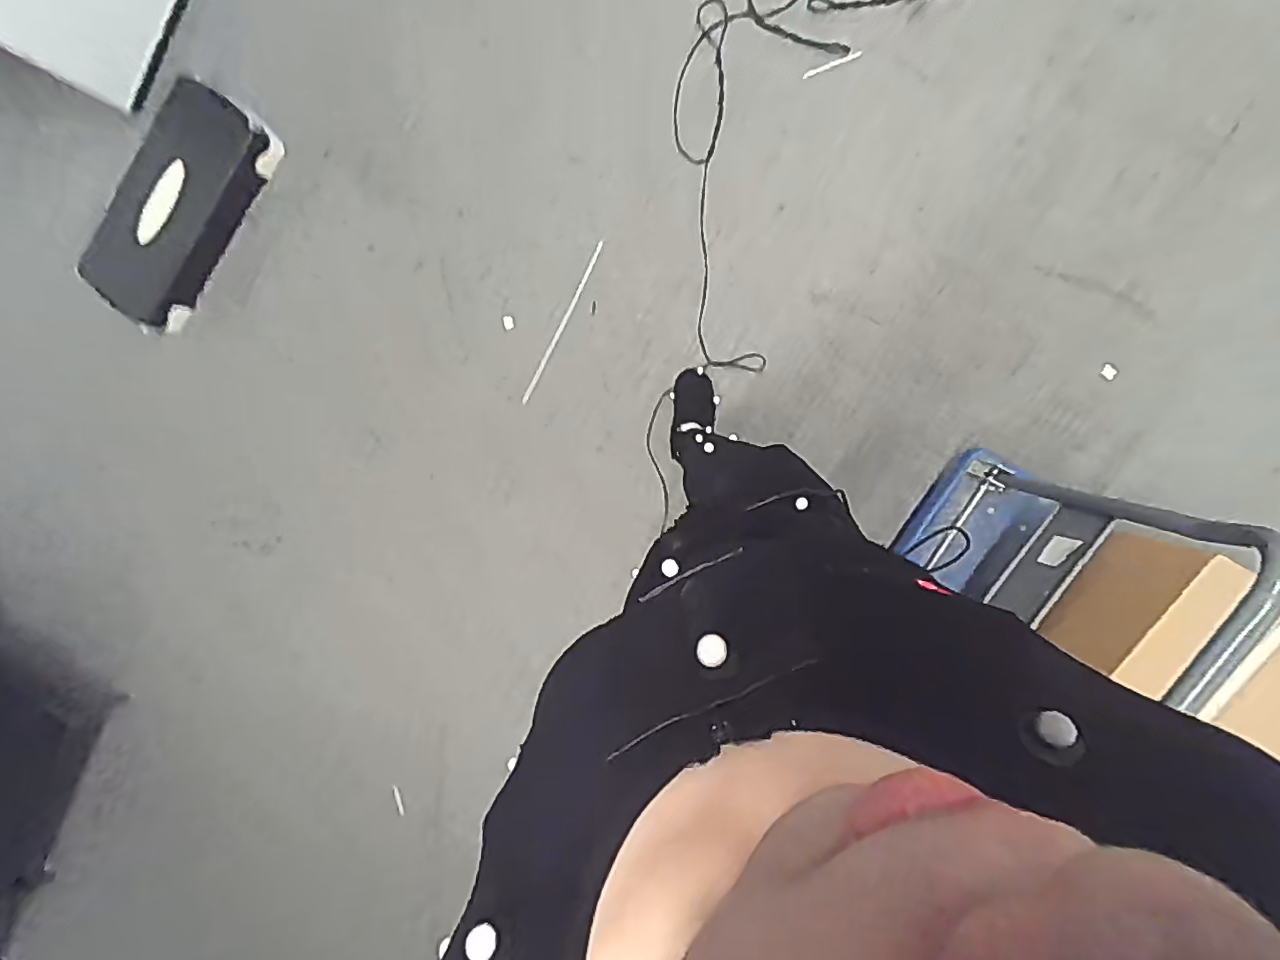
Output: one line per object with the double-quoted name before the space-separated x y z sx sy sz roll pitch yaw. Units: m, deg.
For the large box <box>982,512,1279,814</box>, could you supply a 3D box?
"large box" 0.998 0.328 1.075 0.320 0.320 0.408 32 100 5
